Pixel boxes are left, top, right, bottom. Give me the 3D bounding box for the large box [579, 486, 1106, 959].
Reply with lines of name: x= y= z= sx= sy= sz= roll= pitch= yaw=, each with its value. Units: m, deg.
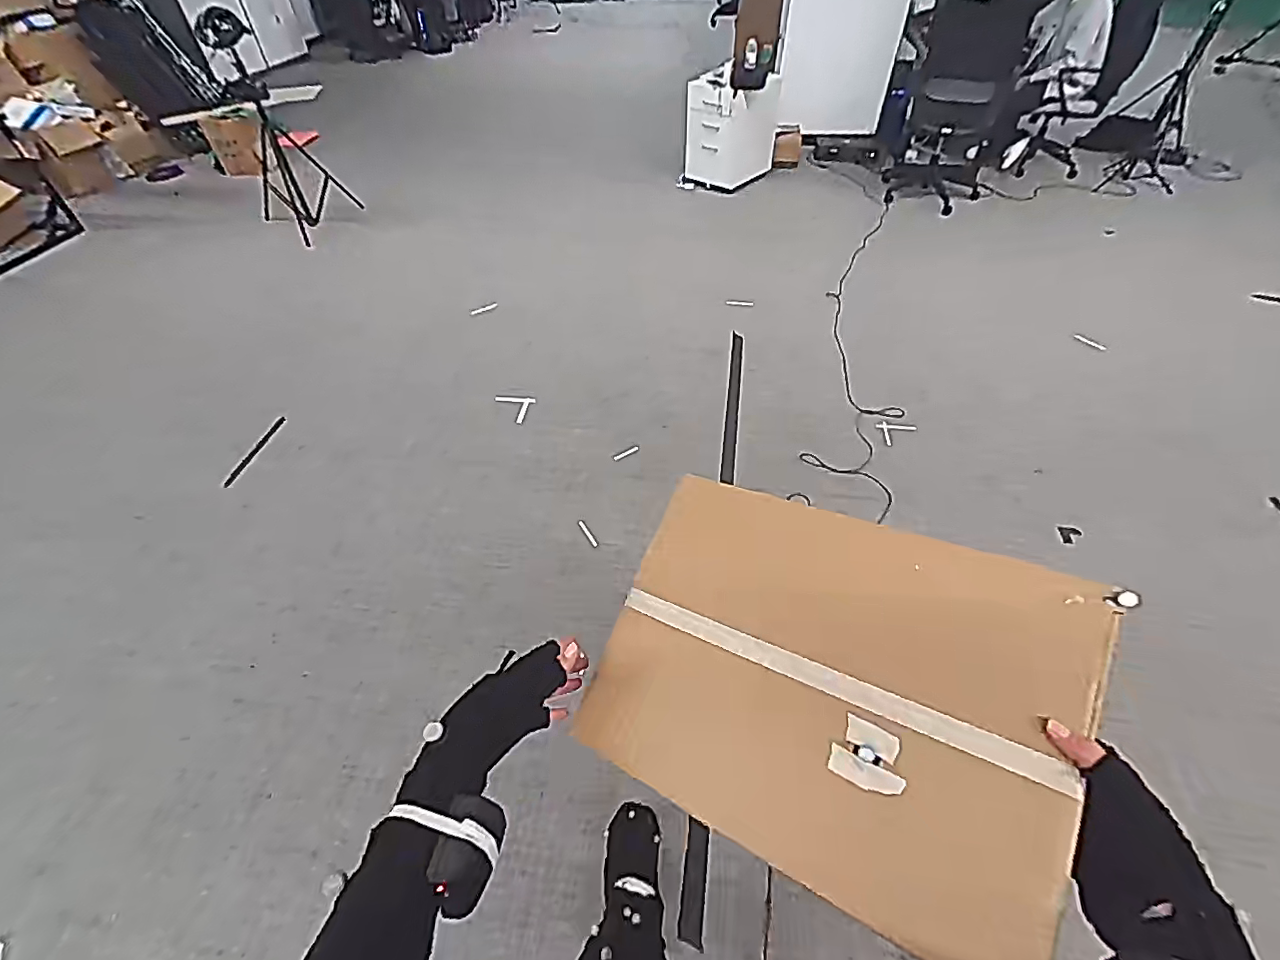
large box: x=0.213 y=0.244 z=0.624 sx=0.408 sy=0.320 sz=0.320 roll=16 pitch=73 yaw=30
